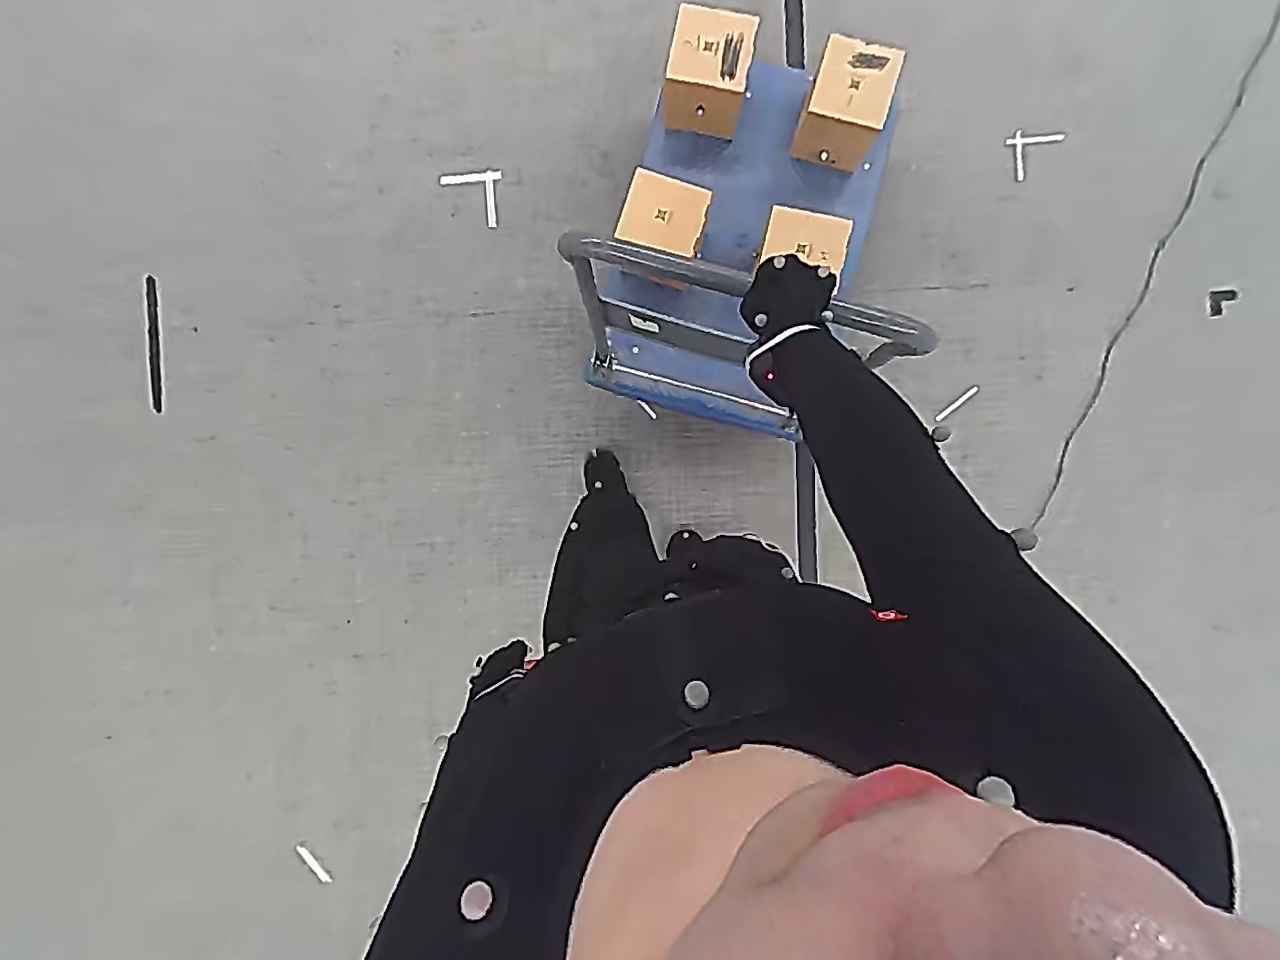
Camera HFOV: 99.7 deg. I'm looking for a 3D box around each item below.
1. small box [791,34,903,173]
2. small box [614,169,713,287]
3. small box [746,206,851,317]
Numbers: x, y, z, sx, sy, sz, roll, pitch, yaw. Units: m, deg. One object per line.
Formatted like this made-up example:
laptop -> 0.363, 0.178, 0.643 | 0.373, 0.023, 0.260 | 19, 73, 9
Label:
small box -> 0.460, -0.846, 1.230 | 0.168, 0.176, 0.179 | 16, 91, 2
small box -> 0.050, -0.566, 1.240 | 0.179, 0.176, 0.168 | 18, 90, 0
small box -> 0.350, -0.487, 1.230 | 0.179, 0.176, 0.168 | 13, 90, 2
